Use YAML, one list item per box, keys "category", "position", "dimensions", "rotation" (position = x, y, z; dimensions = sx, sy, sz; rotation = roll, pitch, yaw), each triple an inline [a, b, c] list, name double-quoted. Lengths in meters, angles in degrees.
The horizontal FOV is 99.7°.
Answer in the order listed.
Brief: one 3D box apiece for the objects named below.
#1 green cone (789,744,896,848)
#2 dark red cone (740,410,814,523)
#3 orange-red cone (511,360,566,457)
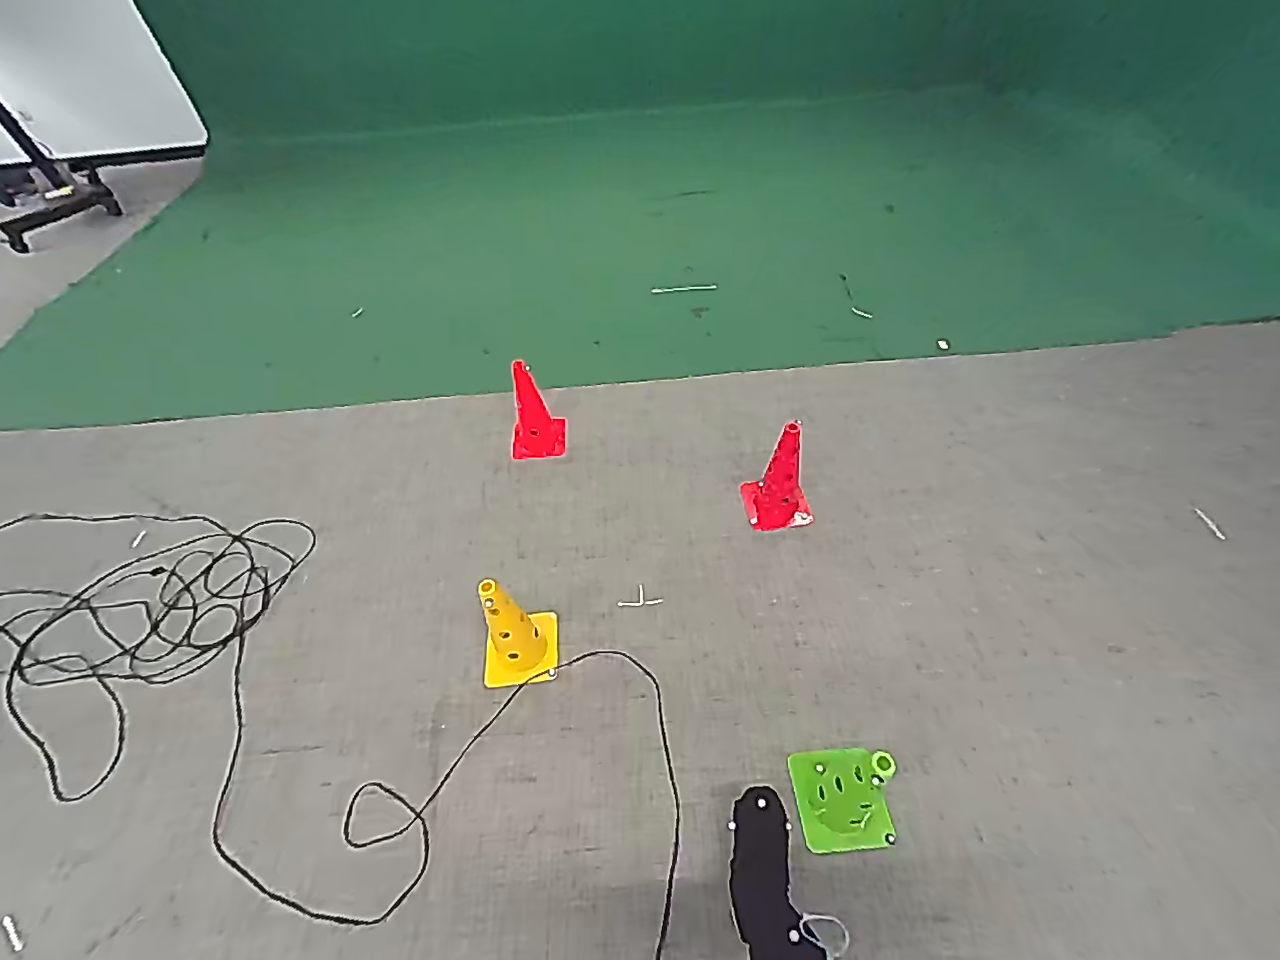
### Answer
- category: "green cone"
  position: [0.448, 0.614, 1.115]
  dimensions: [0.202, 0.368, 0.200]
  rotation: [-7, 50, 1]
- category: "dark red cone"
  position: [0.432, -0.055, 1.634]
  dimensions: [0.202, 0.394, 0.201]
  rotation: [-9, 49, -3]
- category: "orange-red cone"
  position: [-0.390, -0.270, 1.908]
  dimensions: [0.198, 0.360, 0.199]
  rotation: [-5, 51, 2]
